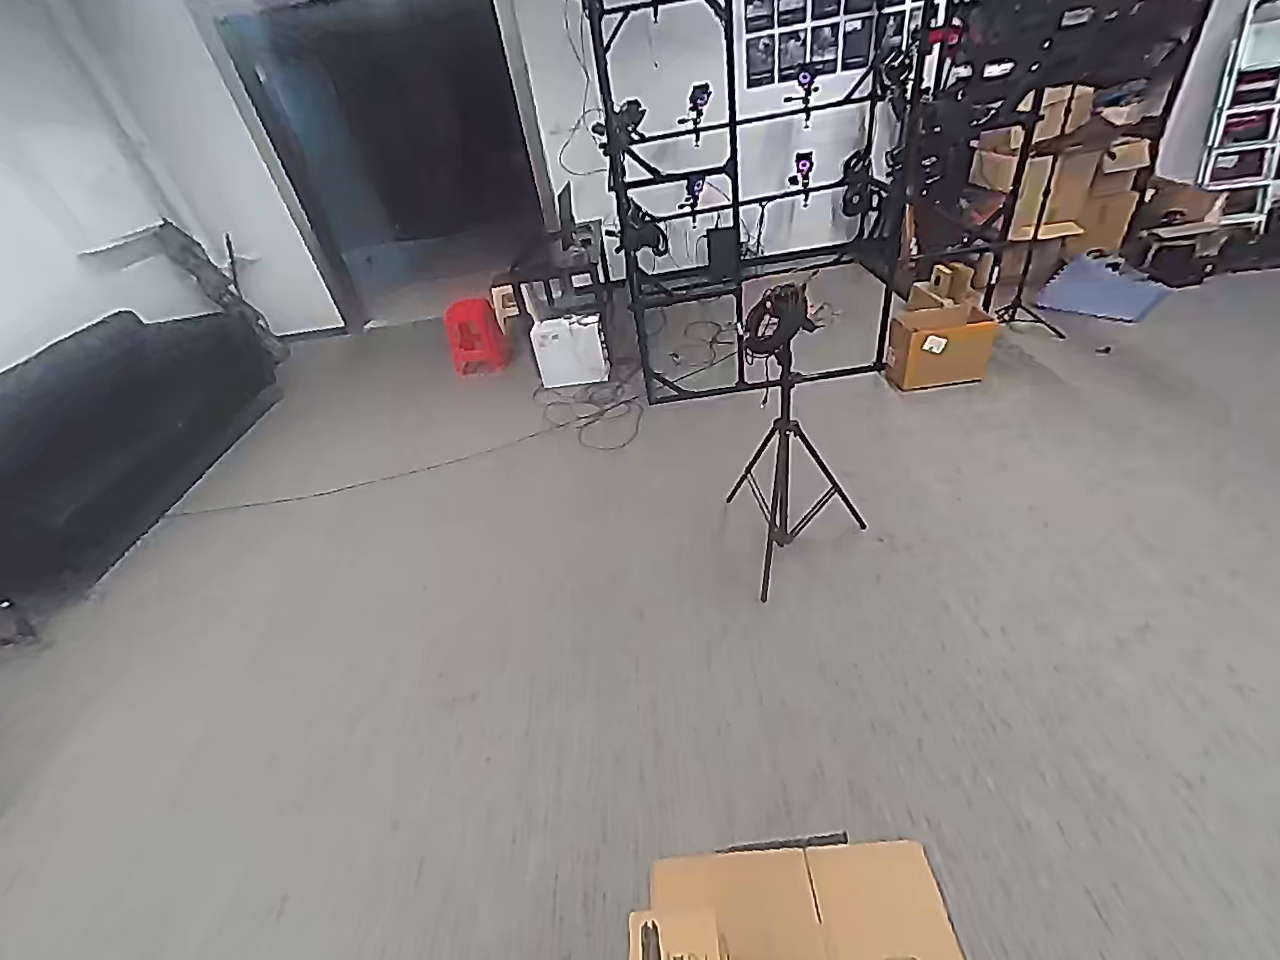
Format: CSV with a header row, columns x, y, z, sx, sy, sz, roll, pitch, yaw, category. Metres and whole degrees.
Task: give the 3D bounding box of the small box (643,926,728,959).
x,y,z,sx,sy,sz,roll,pitch,yaw,category
0.105,1.087,1.162,0.179,0.176,0.168,-8,37,5,small box
